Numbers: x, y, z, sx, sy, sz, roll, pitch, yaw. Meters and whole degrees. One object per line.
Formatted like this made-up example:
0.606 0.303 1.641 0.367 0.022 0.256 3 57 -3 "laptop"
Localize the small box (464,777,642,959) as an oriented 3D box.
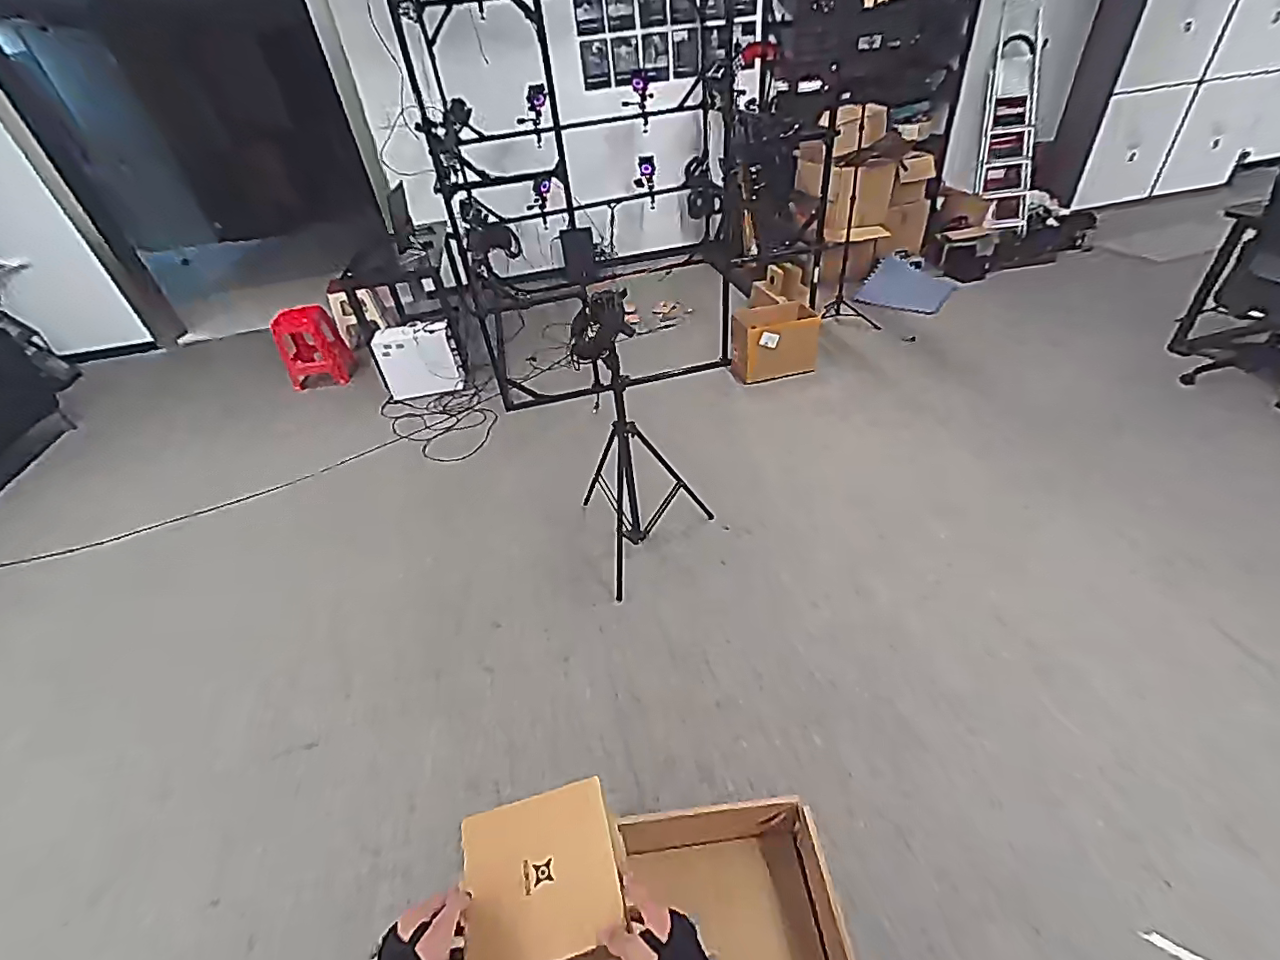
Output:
-0.101 0.499 0.659 0.179 0.176 0.168 -16 42 -7 "small box"
